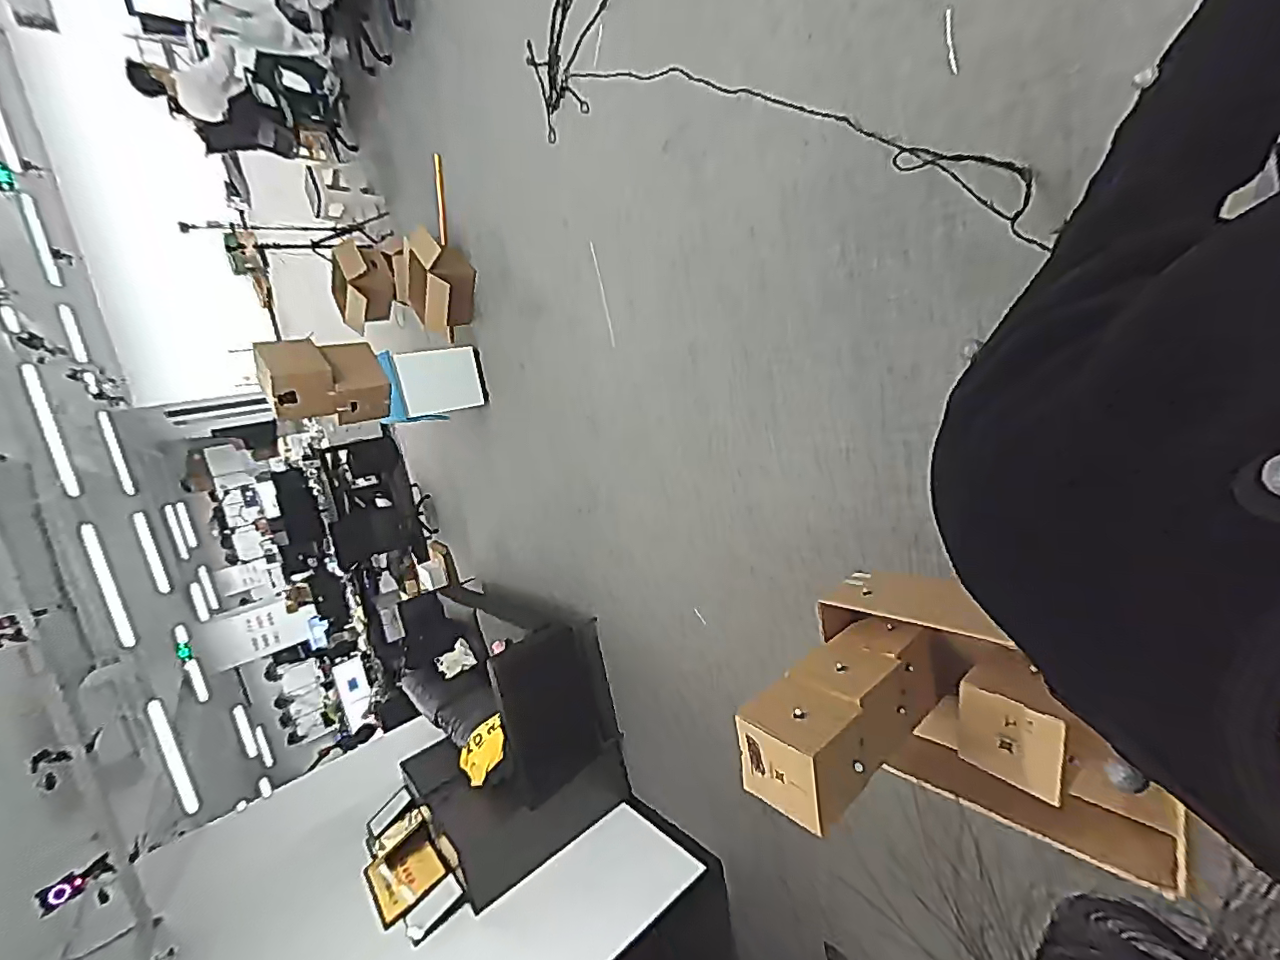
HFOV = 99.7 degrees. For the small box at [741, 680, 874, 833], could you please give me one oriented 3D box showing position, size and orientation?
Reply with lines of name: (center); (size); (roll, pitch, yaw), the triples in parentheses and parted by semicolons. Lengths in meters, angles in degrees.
small box: (0.319, 0.508, 1.028); (0.179, 0.176, 0.168); (6, 109, 51)
